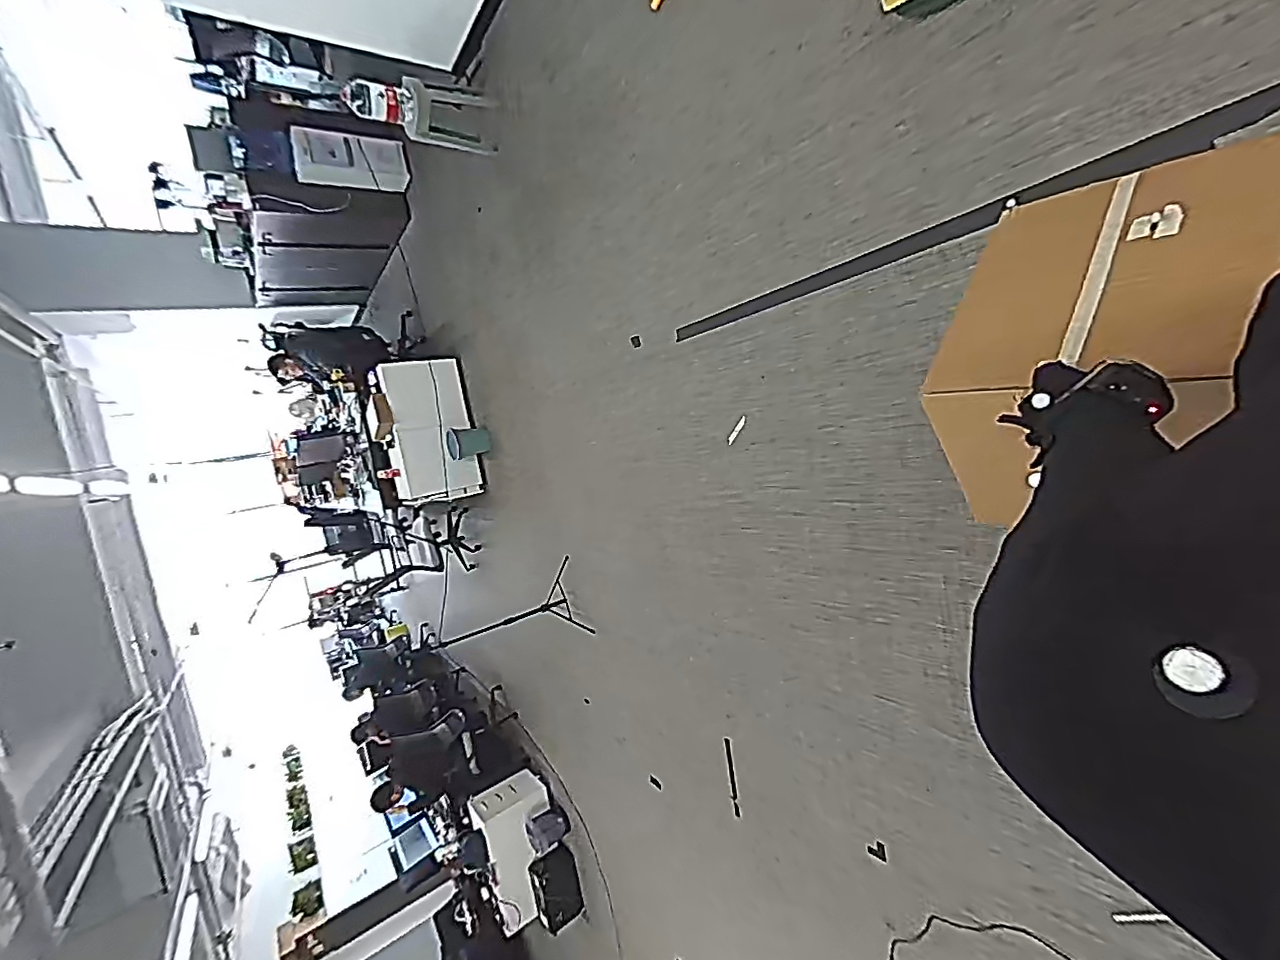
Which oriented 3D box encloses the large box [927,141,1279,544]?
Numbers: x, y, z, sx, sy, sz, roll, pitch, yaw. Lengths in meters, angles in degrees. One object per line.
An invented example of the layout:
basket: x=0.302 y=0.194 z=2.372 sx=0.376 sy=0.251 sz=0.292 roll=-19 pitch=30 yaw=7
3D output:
large box: x=0.677 y=-0.169 z=0.769 sx=0.320 sy=0.408 sz=0.320 roll=7 pitch=147 yaw=52
